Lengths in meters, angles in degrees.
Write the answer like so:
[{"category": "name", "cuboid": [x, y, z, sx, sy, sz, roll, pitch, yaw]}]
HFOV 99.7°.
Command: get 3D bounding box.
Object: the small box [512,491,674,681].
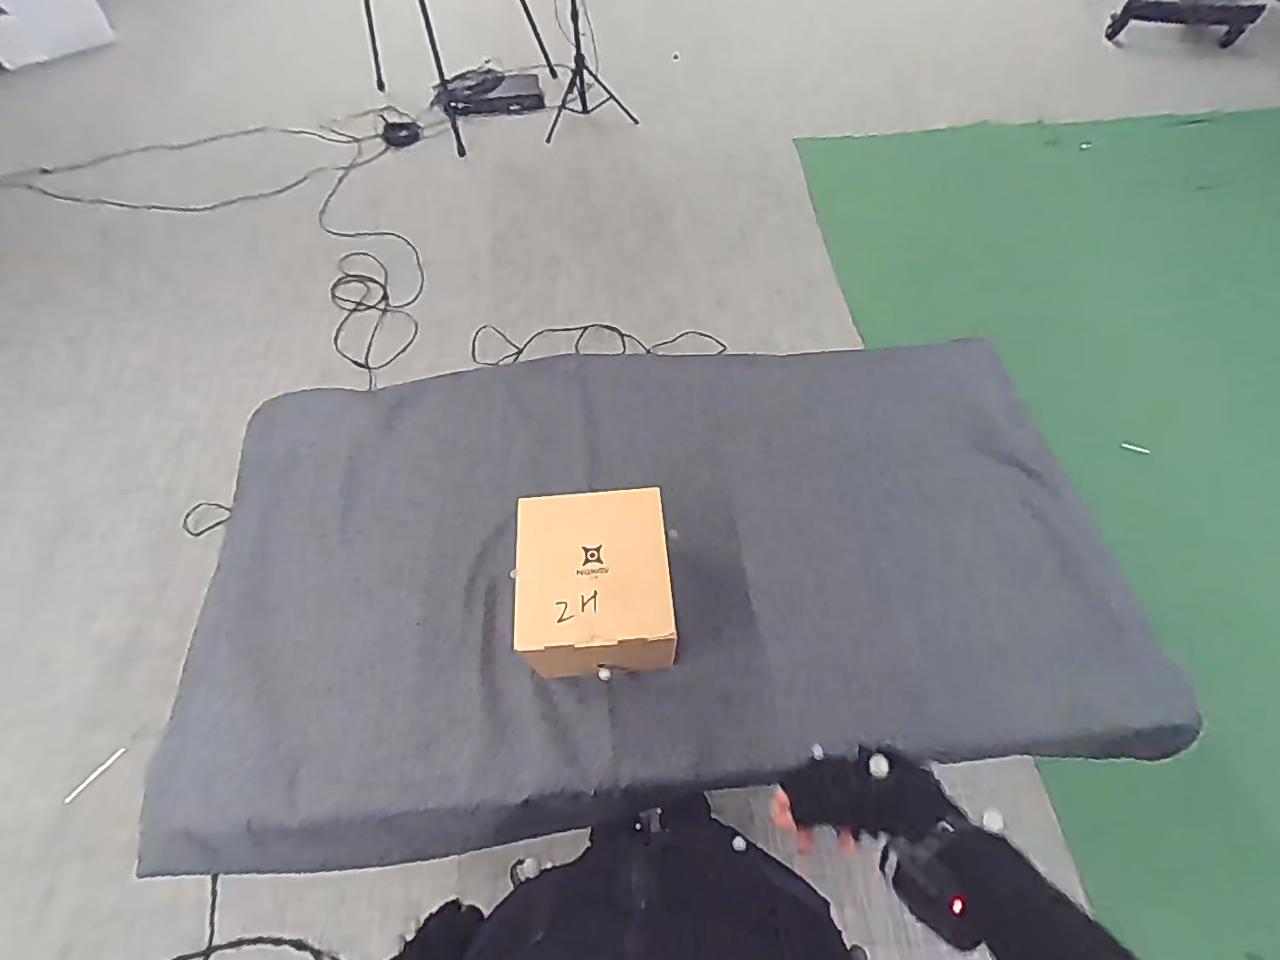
[{"category": "small box", "cuboid": [-0.052, 0.133, 0.652, 0.168, 0.176, 0.179, -5, 61, -1]}]
